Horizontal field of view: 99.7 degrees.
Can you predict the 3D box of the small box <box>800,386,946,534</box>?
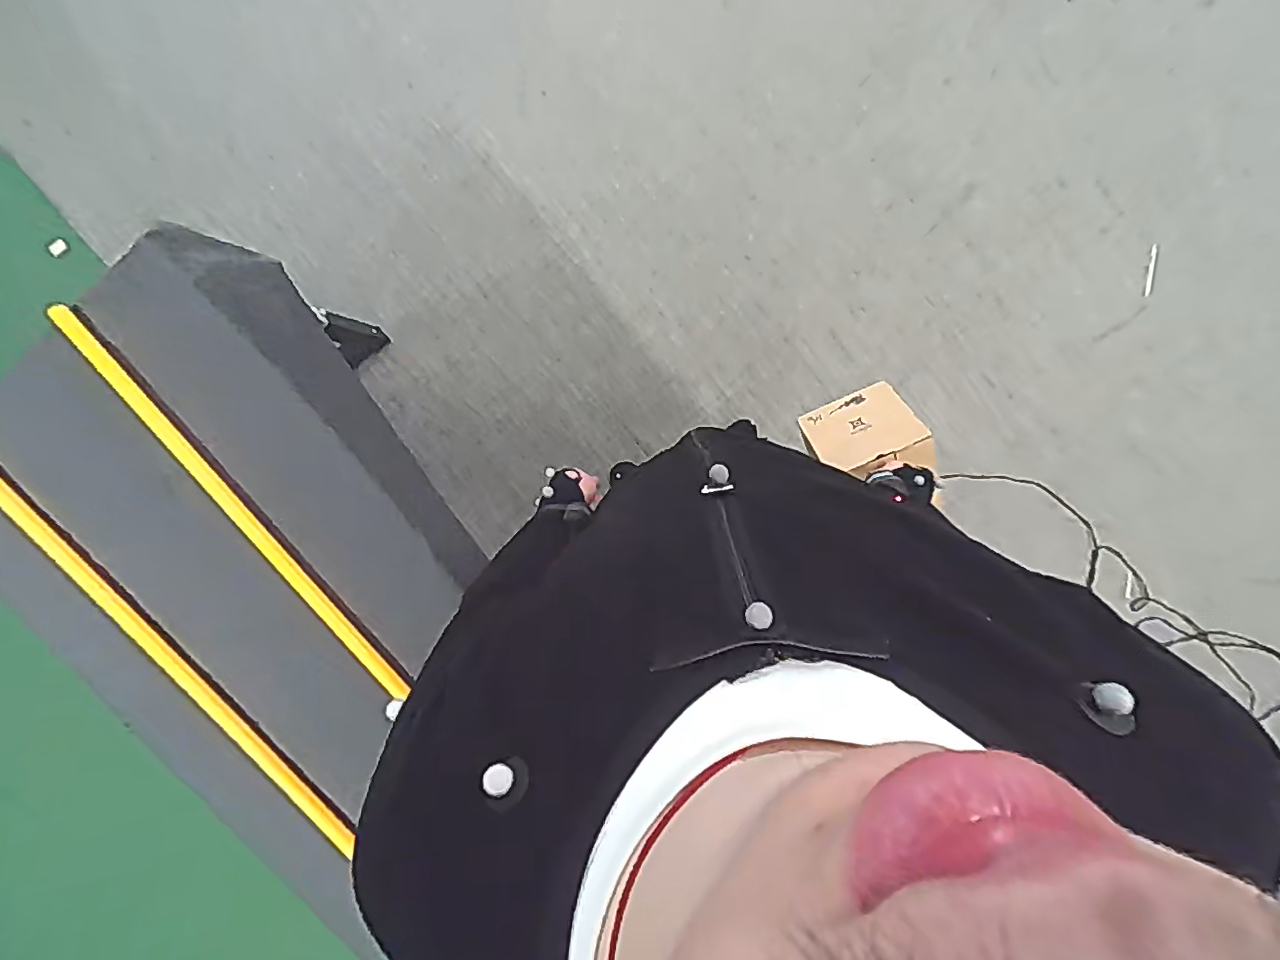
[{"bbox_3d":[0.411,-0.027,0.955,0.168,0.179,0.176,-26,127,12],"label":"small box"}]
